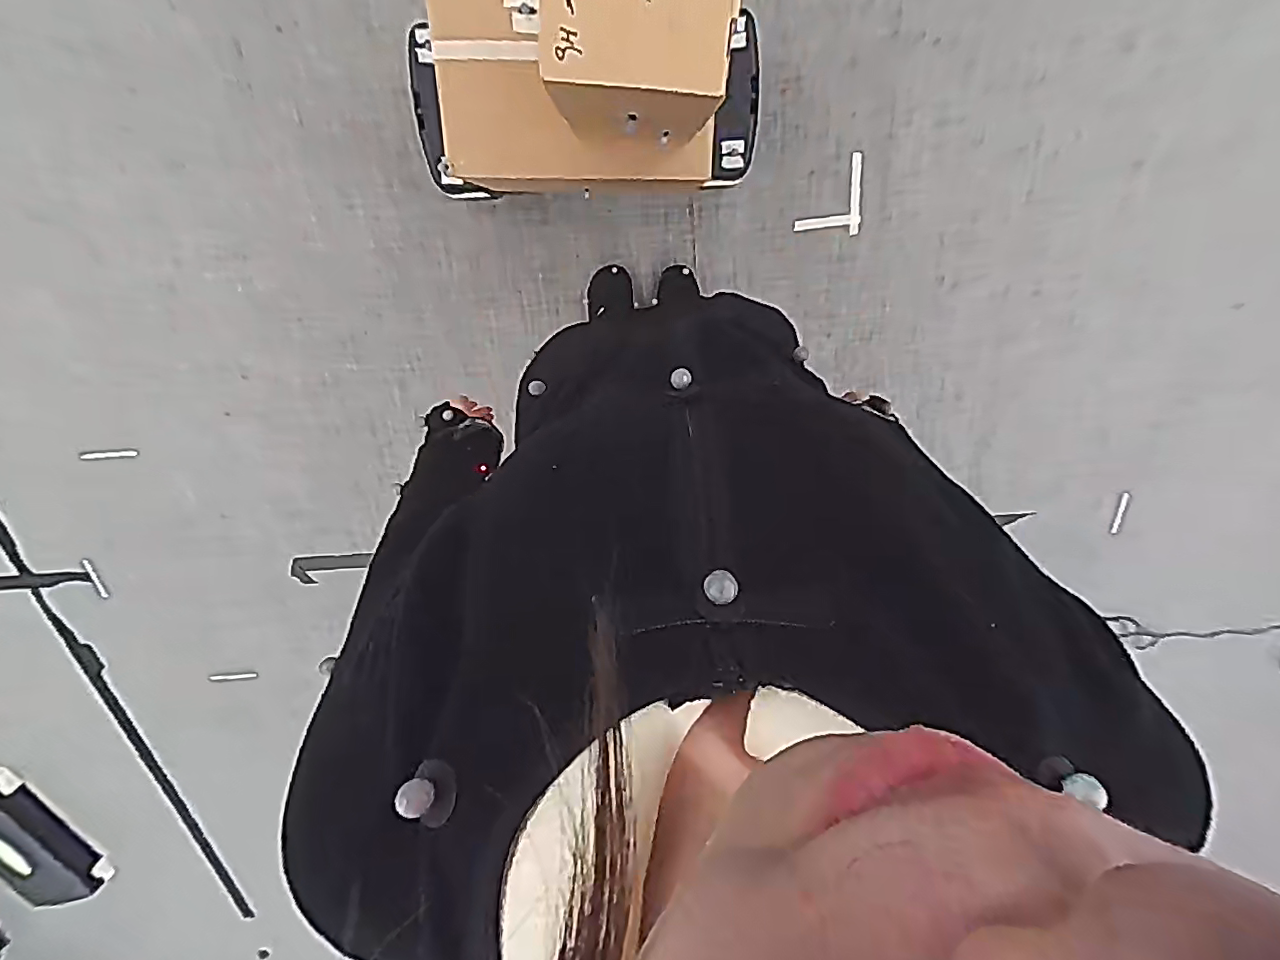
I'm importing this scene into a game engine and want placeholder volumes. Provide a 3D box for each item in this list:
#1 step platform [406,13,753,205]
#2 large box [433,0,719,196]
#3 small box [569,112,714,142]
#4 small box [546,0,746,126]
[{"bbox_3d":[-0.114,-0.745,1.116,0.684,0.204,0.286,2,114,-1],"label":"step platform"},{"bbox_3d":[-0.083,-0.654,0.897,0.408,0.320,0.320,0,113,0],"label":"large box"},{"bbox_3d":[0.003,-0.538,0.682,0.179,0.176,0.168,2,114,-2],"label":"small box"},{"bbox_3d":[0.005,-0.467,0.534,0.179,0.176,0.168,3,113,-4],"label":"small box"}]
